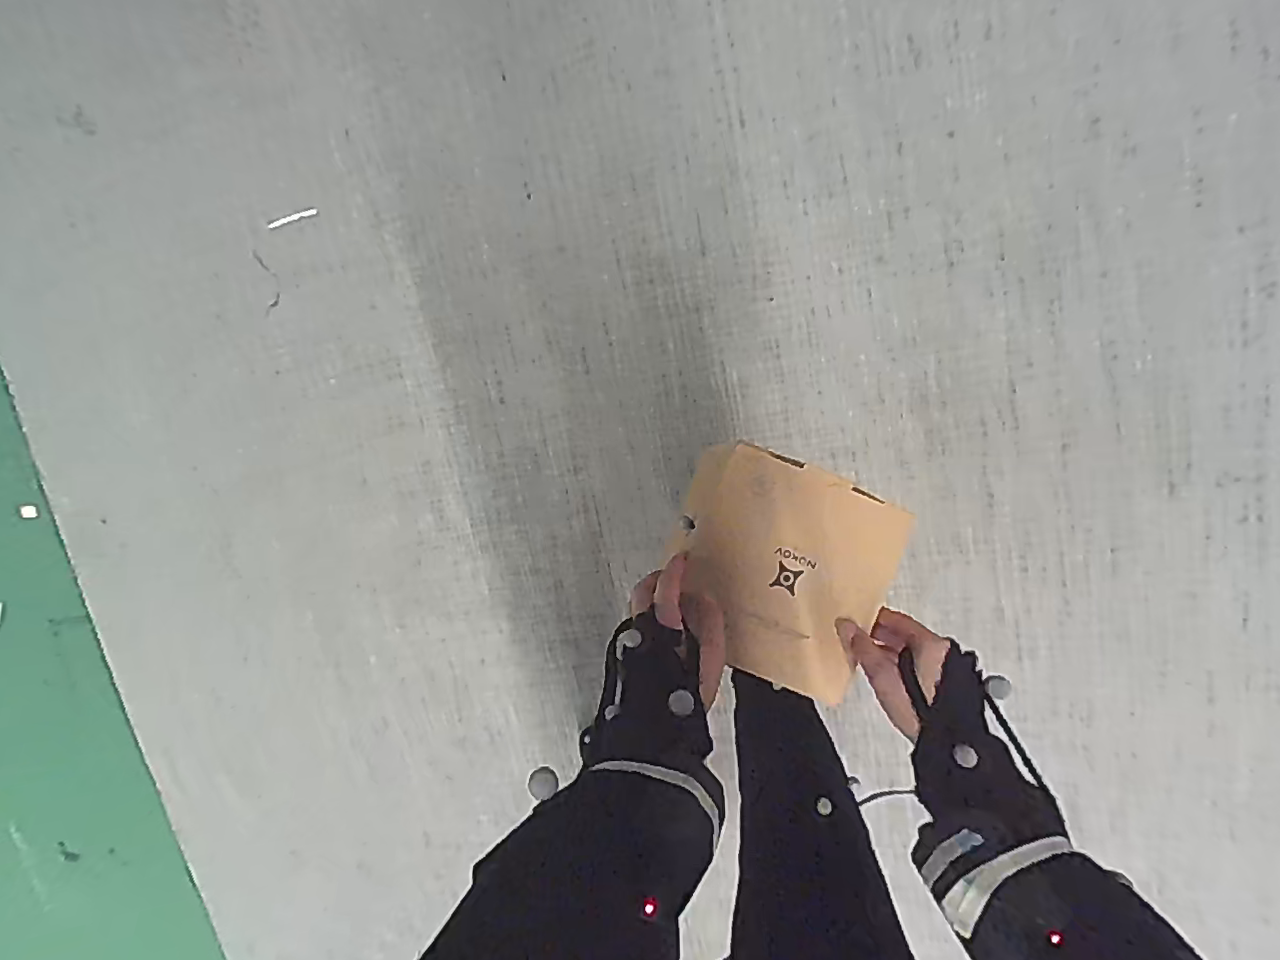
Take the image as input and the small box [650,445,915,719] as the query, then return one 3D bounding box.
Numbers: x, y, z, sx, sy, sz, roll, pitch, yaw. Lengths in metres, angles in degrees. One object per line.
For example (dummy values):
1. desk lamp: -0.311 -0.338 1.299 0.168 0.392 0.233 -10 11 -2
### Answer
1. small box: 0.114 0.082 0.512 0.168 0.176 0.179 23 90 -1
